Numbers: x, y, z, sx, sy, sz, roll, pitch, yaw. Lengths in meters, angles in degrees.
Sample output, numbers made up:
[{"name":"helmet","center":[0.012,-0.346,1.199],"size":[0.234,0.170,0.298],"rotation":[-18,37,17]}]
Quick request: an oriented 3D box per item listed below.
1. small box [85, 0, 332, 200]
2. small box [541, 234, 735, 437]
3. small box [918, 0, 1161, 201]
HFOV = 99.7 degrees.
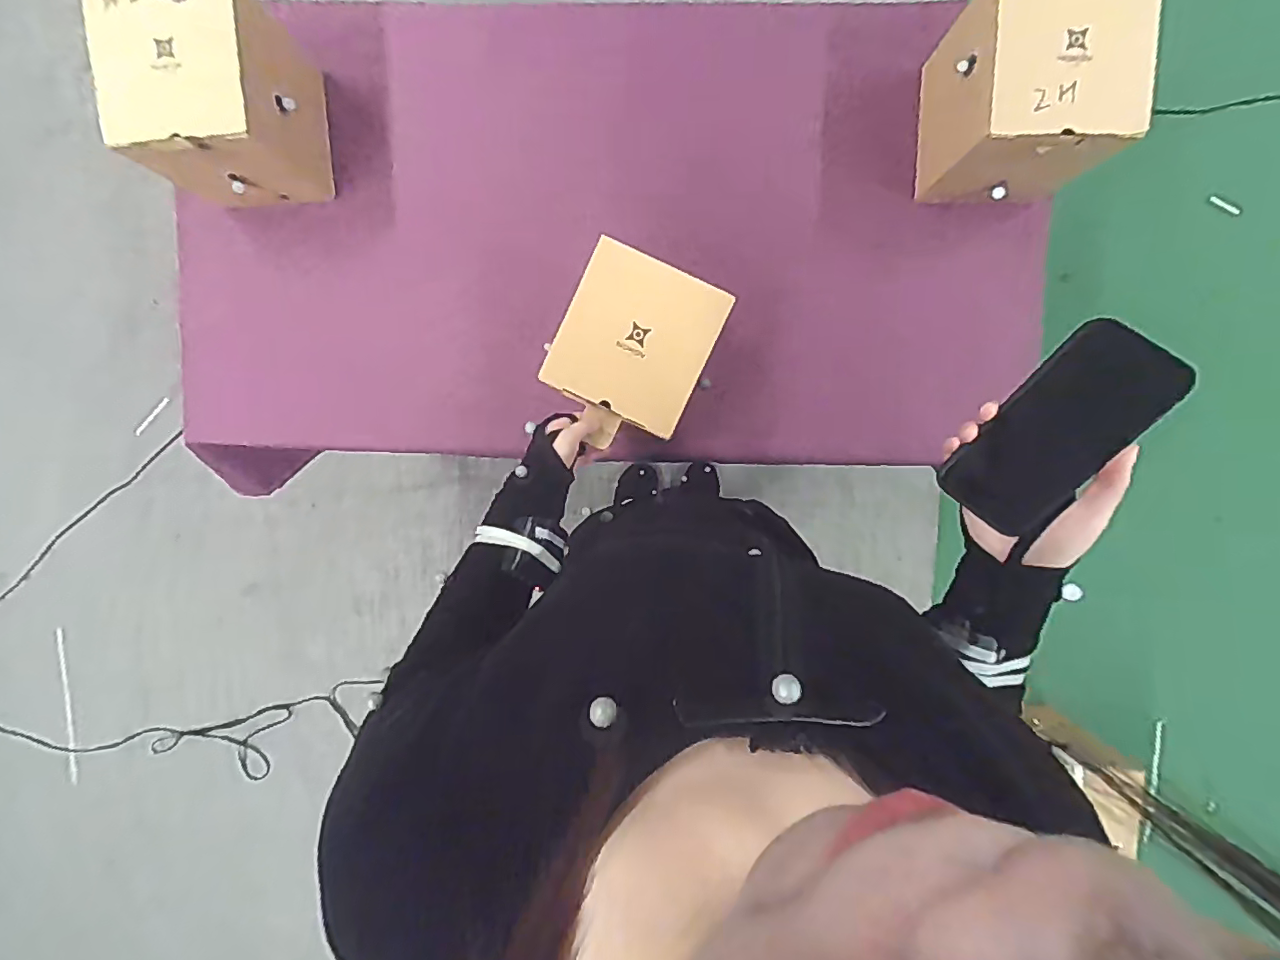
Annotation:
[{"name":"small box","center":[-0.510,-0.464,0.667],"size":[0.168,0.176,0.179],"rotation":[-3,96,1]},{"name":"small box","center":[-0.002,-0.166,0.678],"size":[0.168,0.176,0.179],"rotation":[25,96,0]},{"name":"small box","center":[0.450,-0.457,0.637],"size":[0.168,0.176,0.179],"rotation":[2,95,3]}]
